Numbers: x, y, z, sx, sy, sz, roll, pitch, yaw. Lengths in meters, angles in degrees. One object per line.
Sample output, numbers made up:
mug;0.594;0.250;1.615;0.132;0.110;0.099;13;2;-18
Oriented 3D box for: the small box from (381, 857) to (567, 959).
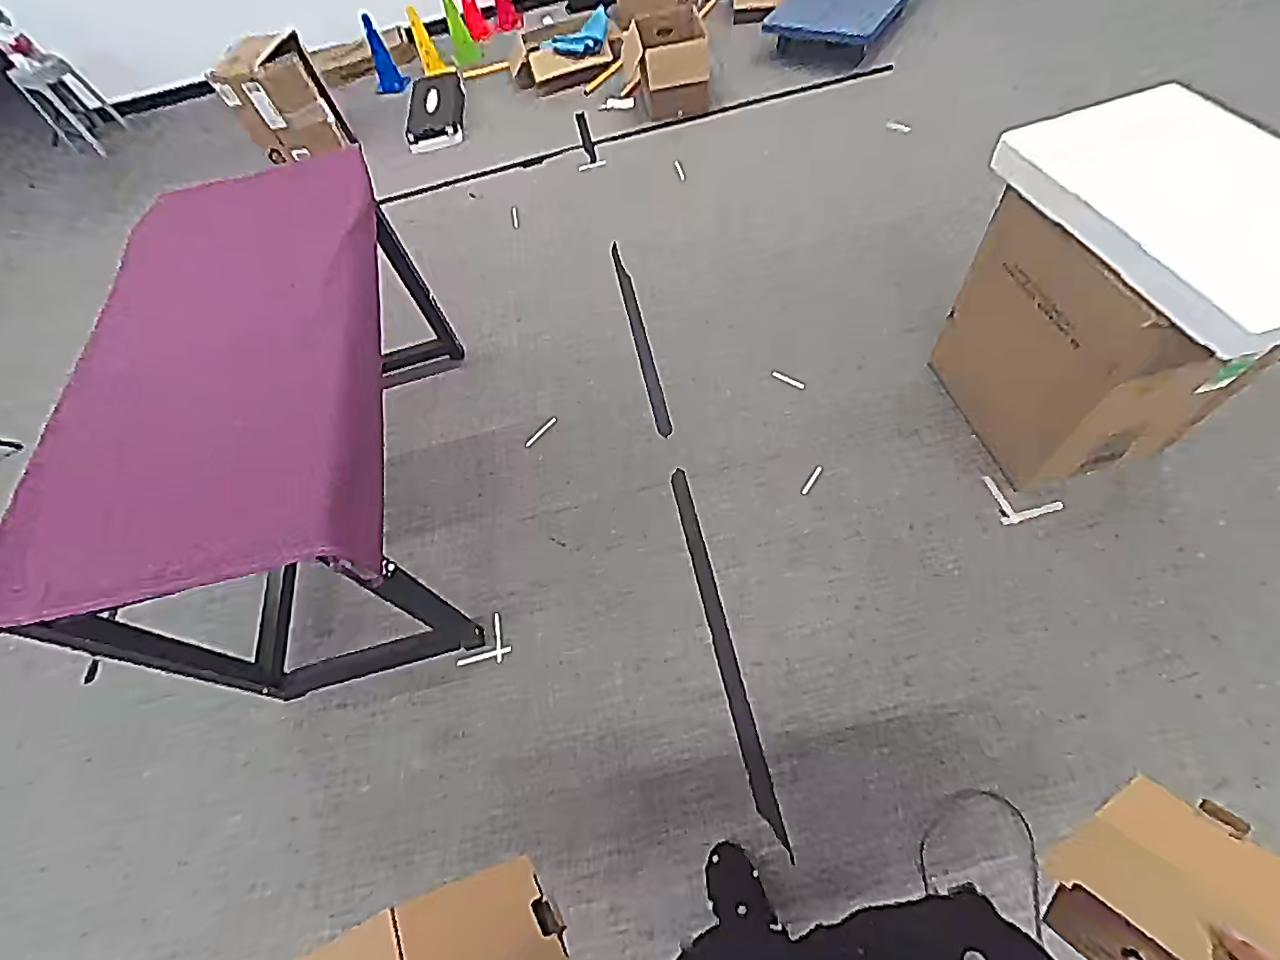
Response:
small box;-0.203;0.607;0.639;0.179;0.176;0.168;5;23;-37
